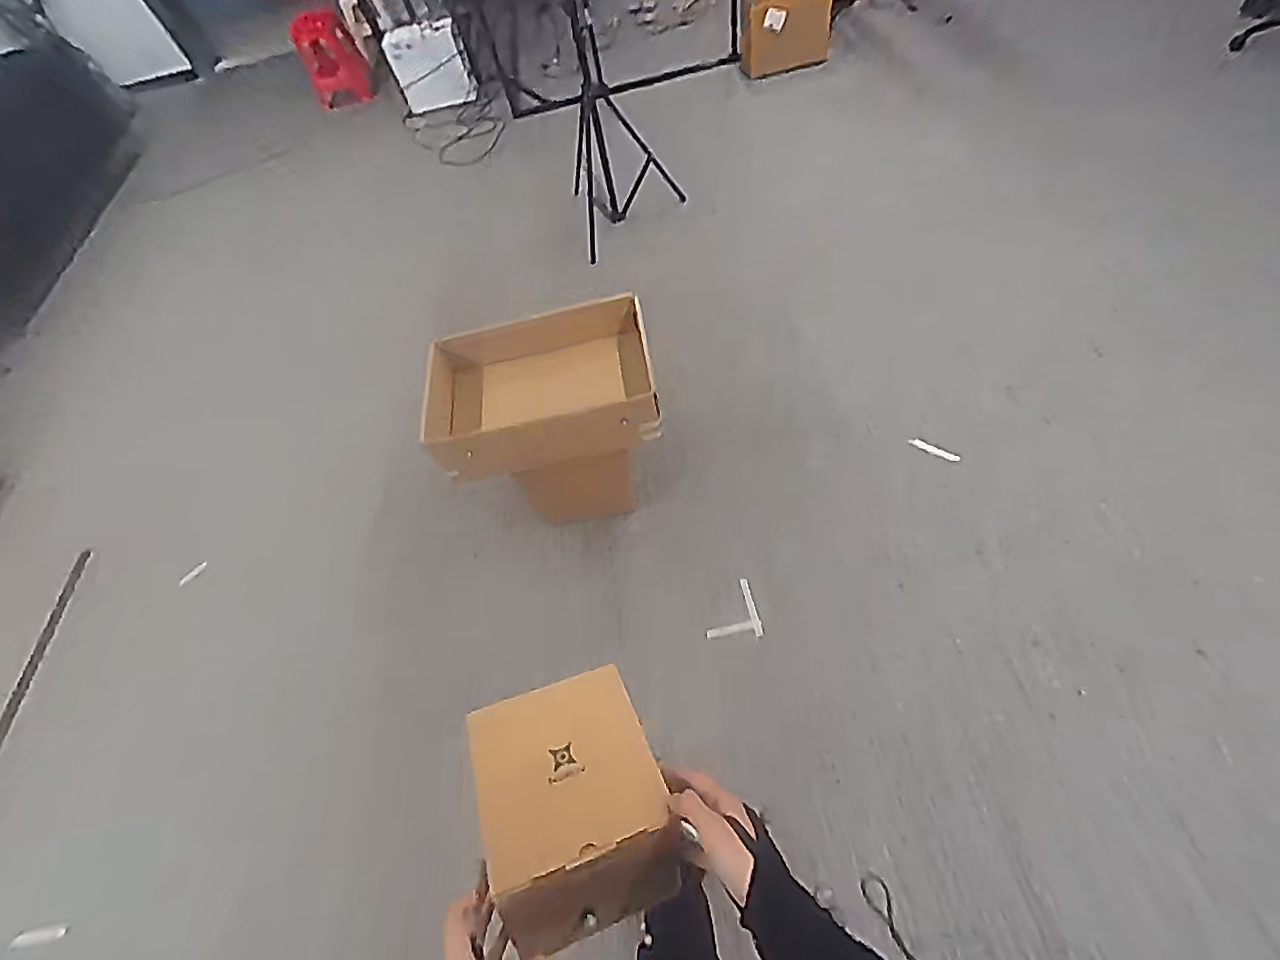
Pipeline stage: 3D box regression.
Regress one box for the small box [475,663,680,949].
[{"bbox_3d":[-0.069,0.335,0.571,0.168,0.176,0.179,-13,37,-17],"label":"small box"}]
